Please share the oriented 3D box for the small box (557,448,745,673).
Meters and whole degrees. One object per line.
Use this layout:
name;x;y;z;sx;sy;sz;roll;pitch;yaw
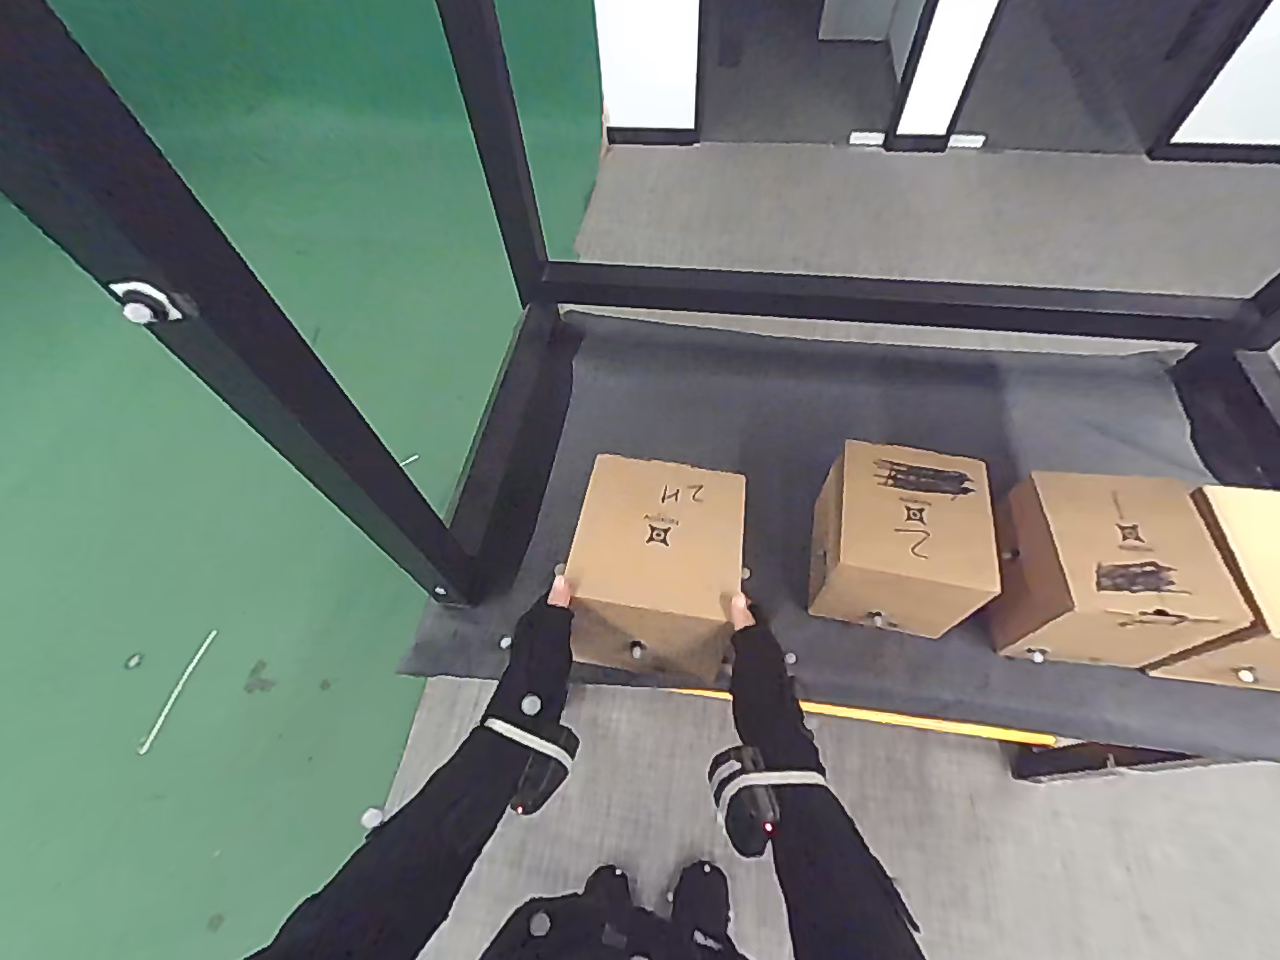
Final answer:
small box;0.016;0.092;0.593;0.168;0.176;0.179;9;51;4
